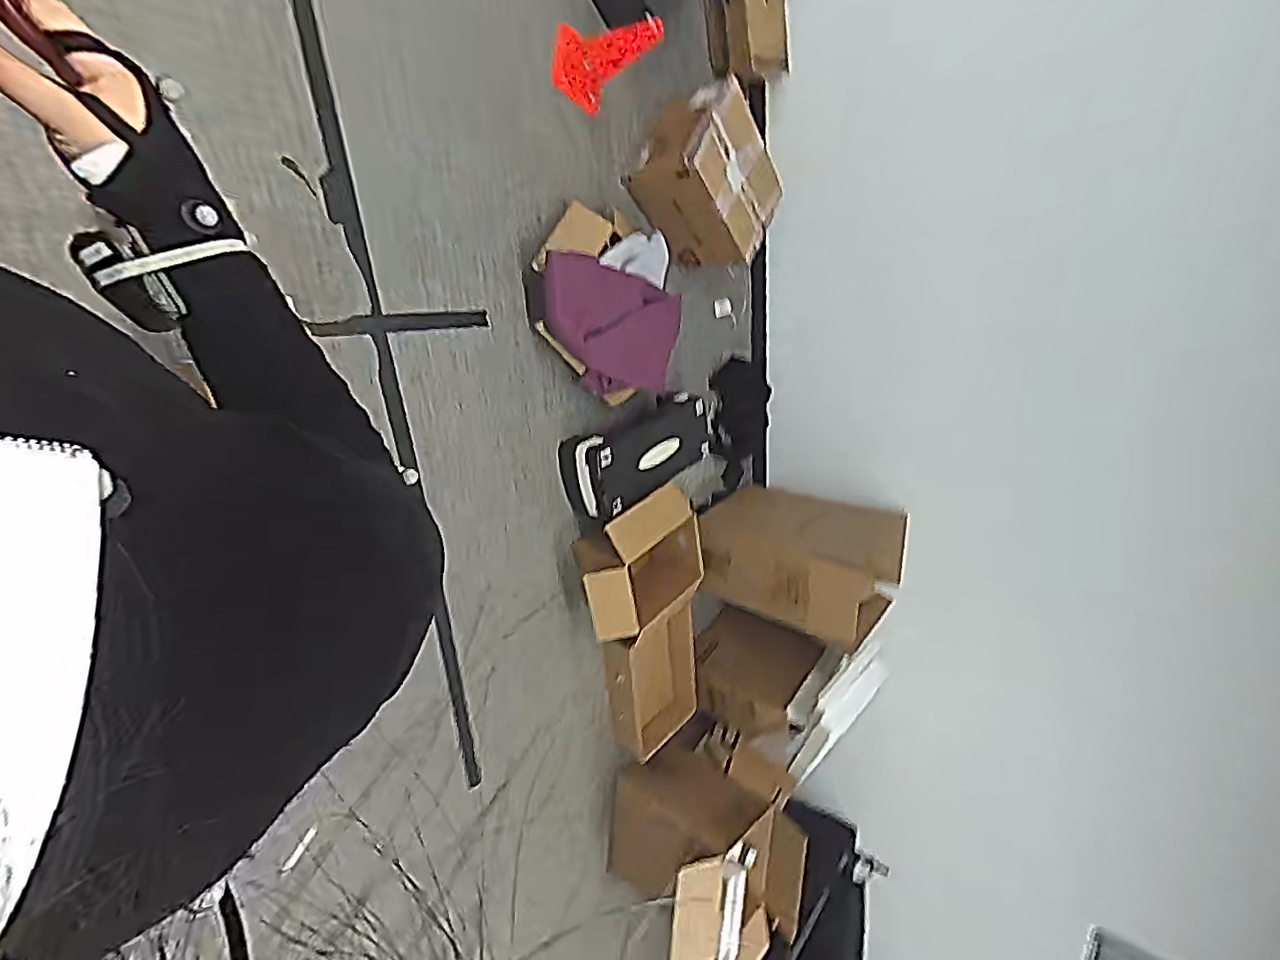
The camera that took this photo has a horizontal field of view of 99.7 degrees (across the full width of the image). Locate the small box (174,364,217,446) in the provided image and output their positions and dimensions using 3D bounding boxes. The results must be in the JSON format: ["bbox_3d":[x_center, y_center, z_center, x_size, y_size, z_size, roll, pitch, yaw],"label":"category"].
[{"bbox_3d":[-0.884,-0.179,1.183,0.179,0.176,0.168,-25,117,-42],"label":"small box"}]

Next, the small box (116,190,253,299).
[{"bbox_3d":[-0.910,-0.459,1.083,0.168,0.176,0.179,-20,113,-45],"label":"small box"}]
